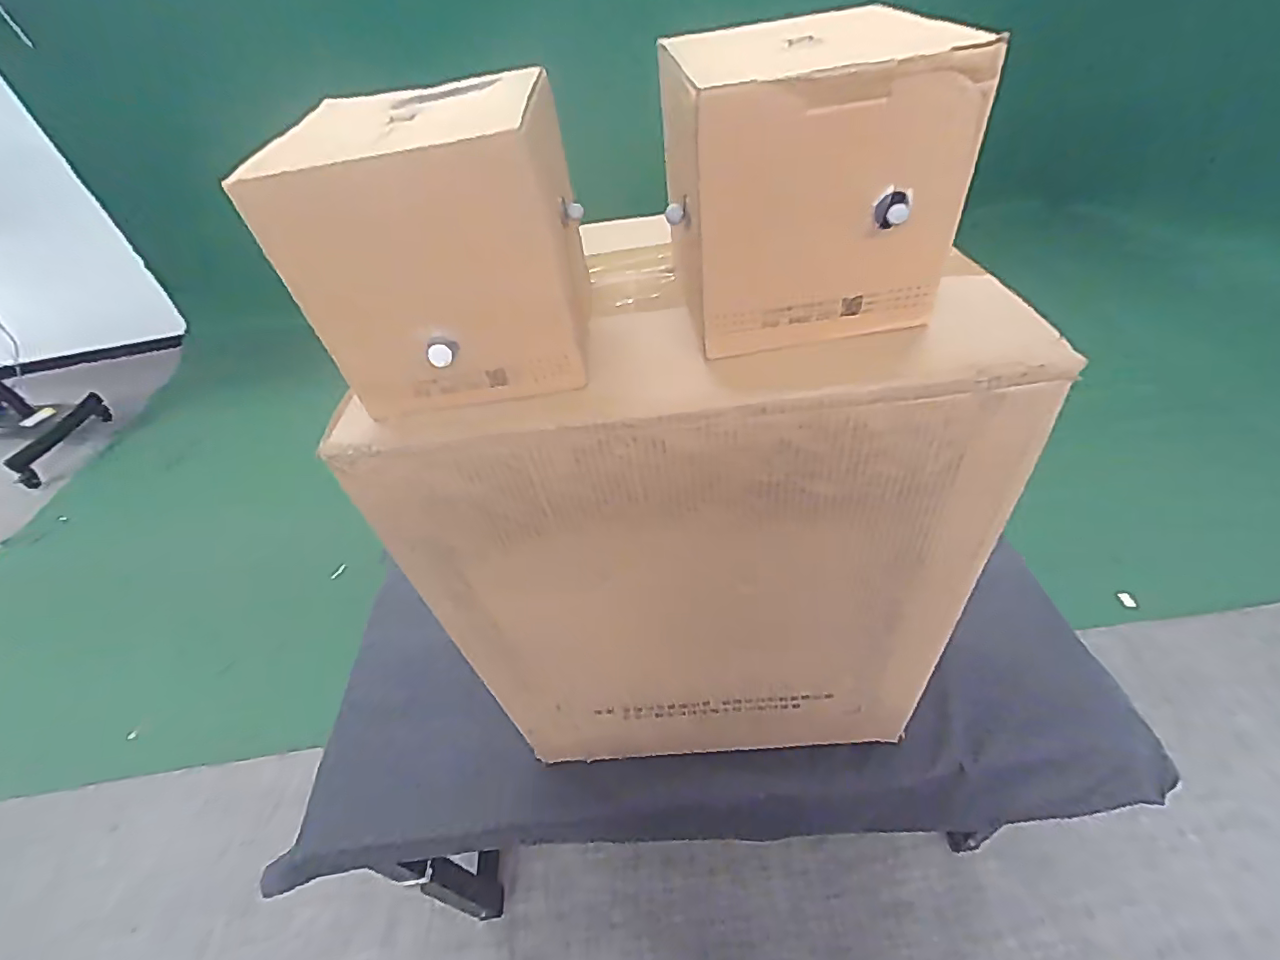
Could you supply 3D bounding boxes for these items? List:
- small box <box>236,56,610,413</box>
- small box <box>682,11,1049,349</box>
[{"bbox_3d":[-0.117,-0.170,0.383,0.168,0.176,0.179,-6,46,5],"label":"small box"},{"bbox_3d":[0.126,-0.207,0.387,0.168,0.176,0.179,-8,46,-2],"label":"small box"}]
